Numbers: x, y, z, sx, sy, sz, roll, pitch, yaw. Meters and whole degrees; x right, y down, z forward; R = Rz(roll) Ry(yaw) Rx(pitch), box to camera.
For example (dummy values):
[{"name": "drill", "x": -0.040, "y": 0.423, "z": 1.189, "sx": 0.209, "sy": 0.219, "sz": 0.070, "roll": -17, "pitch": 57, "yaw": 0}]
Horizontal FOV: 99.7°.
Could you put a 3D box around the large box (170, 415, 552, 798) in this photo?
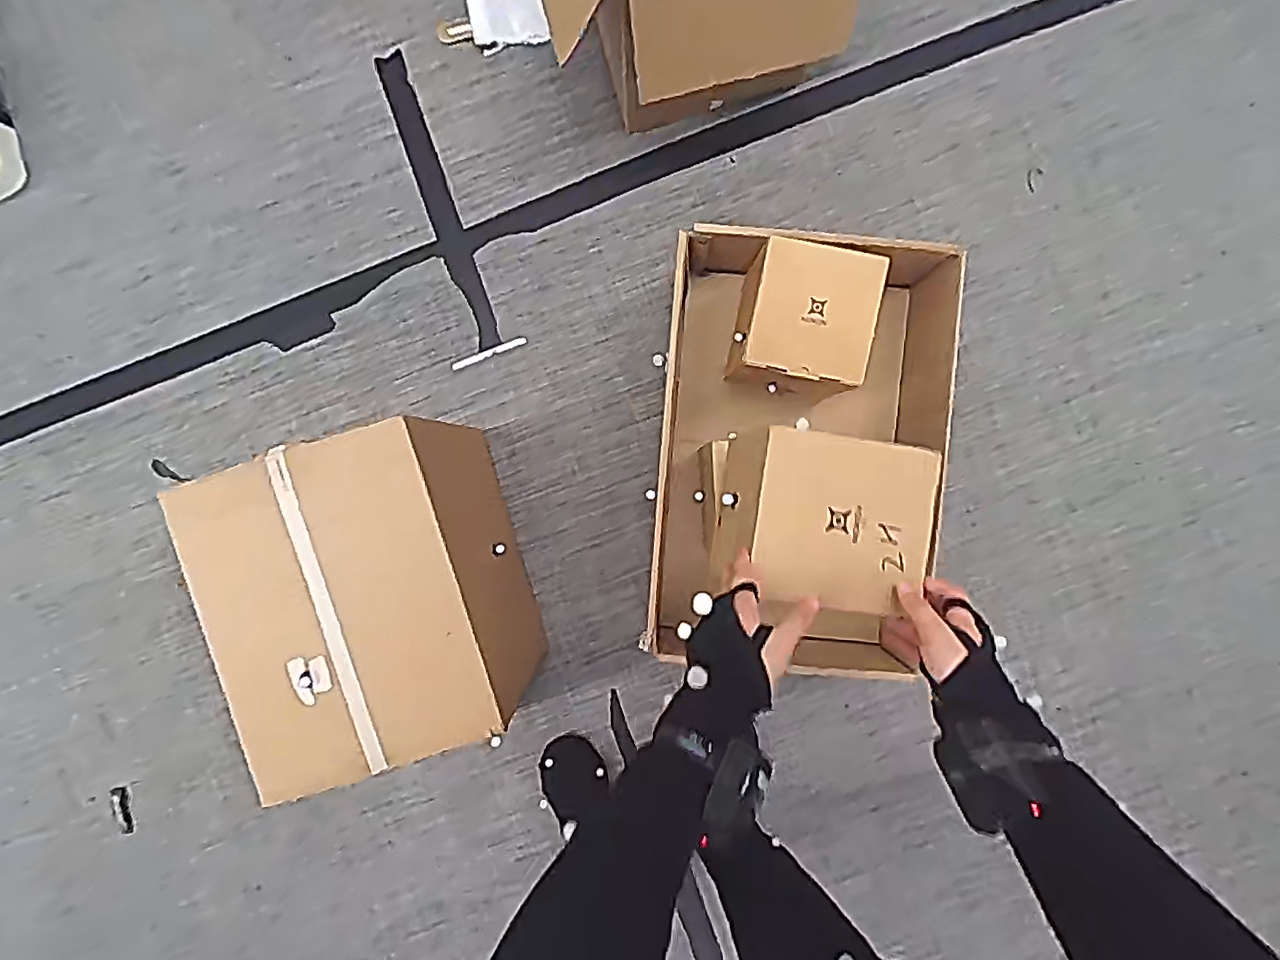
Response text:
[{"name": "large box", "x": -0.356, "y": 0.148, "z": 0.797, "sx": 0.320, "sy": 0.320, "sz": 0.408, "roll": -18, "pitch": 92, "yaw": 2}]

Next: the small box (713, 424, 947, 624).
[{"name": "small box", "x": 0.187, "y": 0.043, "z": 0.584, "sx": 0.179, "sy": 0.176, "sz": 0.168, "roll": 10, "pitch": 90, "yaw": -5}]
